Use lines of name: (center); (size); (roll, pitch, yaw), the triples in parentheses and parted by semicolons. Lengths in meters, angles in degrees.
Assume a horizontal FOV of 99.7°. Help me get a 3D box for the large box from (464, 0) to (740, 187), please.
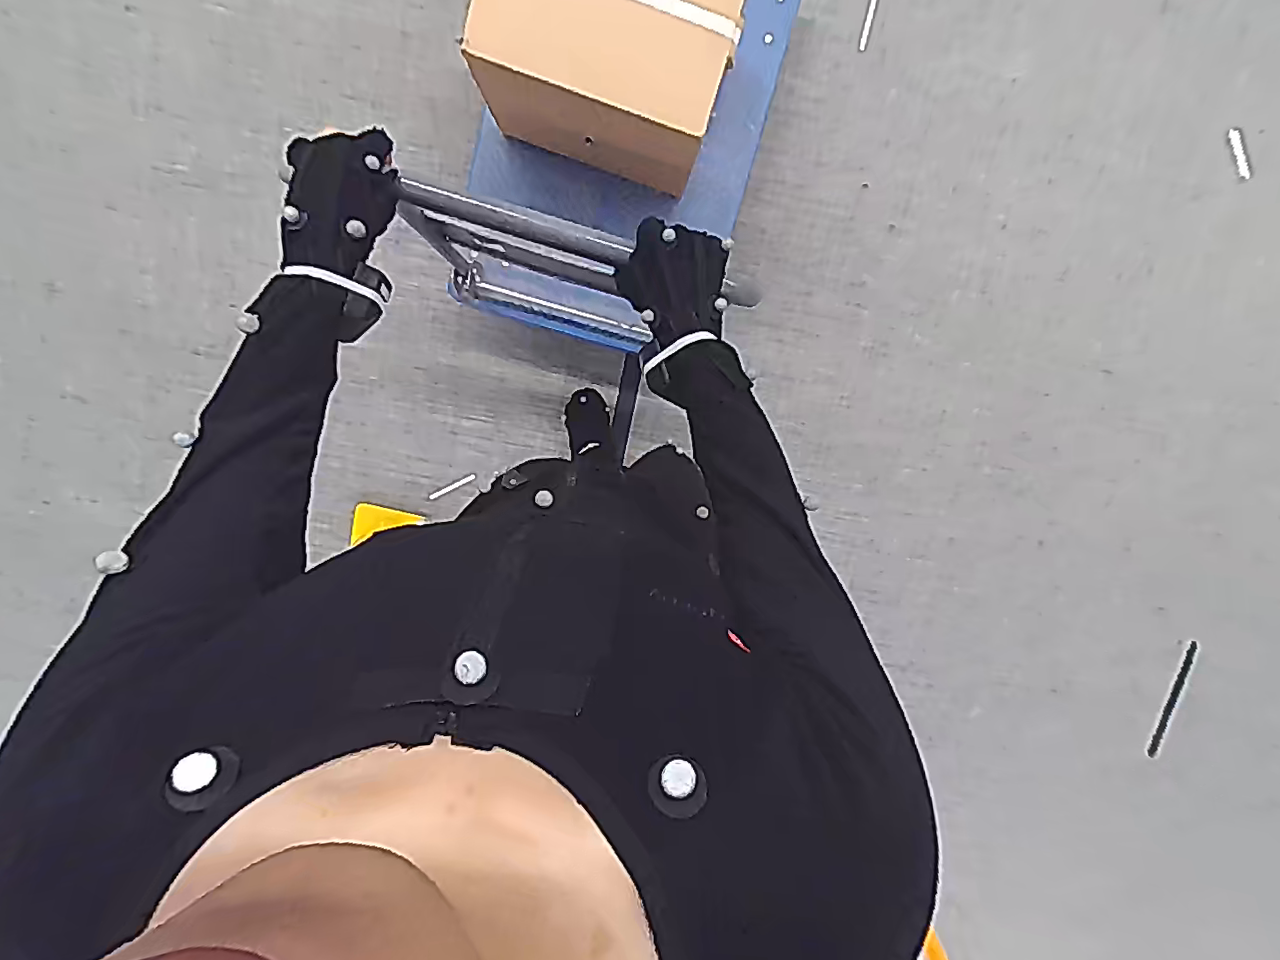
large box: (-0.050, -0.796, 0.990); (0.408, 0.320, 0.320); (17, 100, -5)
